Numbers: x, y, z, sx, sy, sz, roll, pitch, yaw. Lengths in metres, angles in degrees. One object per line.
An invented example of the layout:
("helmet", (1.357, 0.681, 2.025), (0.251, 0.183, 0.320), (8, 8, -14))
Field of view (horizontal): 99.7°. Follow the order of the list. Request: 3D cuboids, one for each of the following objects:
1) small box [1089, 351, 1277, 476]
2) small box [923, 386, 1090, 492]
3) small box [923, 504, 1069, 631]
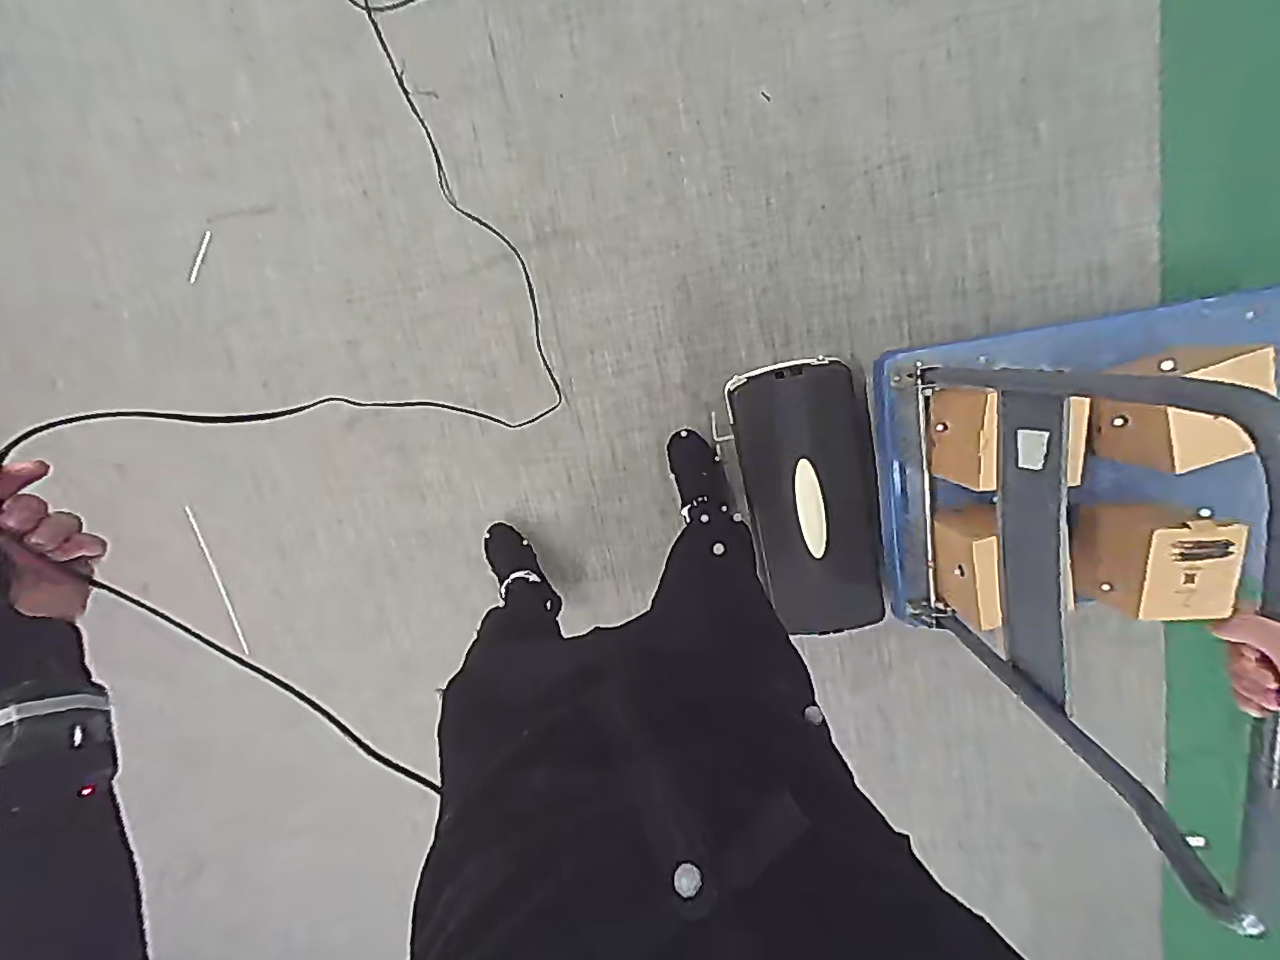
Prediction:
("small box", (0.943, -0.122, 0.958), (0.179, 0.176, 0.168), (-18, 102, 4))
("small box", (0.642, -0.079, 0.967), (0.179, 0.176, 0.168), (-2, 102, 1))
("small box", (0.656, 0.153, 1.013), (0.168, 0.176, 0.179), (-12, 102, 3))
